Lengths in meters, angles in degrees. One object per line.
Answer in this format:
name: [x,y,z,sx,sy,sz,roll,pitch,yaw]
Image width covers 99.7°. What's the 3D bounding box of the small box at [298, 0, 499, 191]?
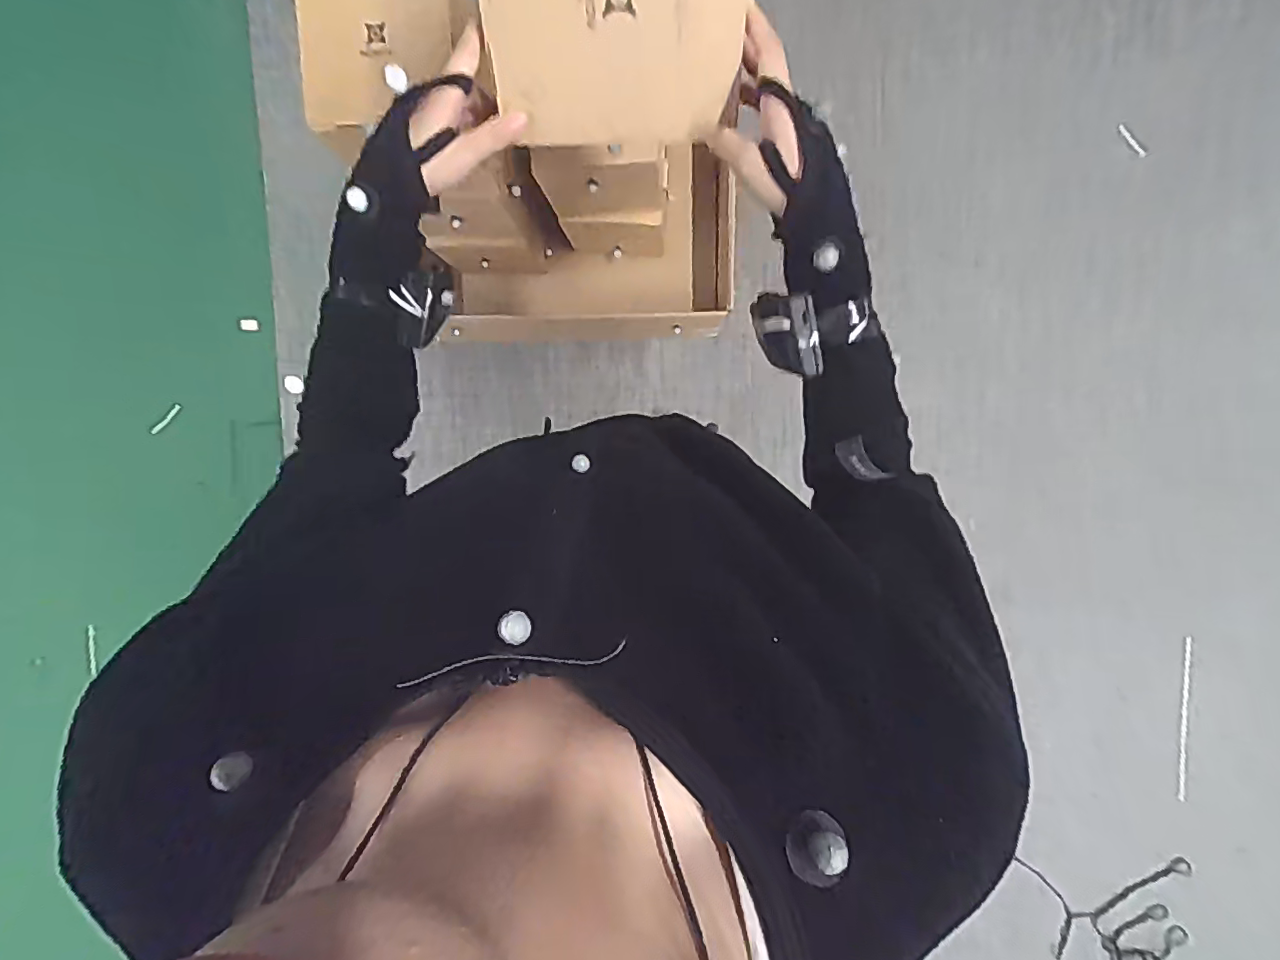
small box: [-0.273,-0.474,0.645,0.168,0.176,0.179,-2,96,2]
